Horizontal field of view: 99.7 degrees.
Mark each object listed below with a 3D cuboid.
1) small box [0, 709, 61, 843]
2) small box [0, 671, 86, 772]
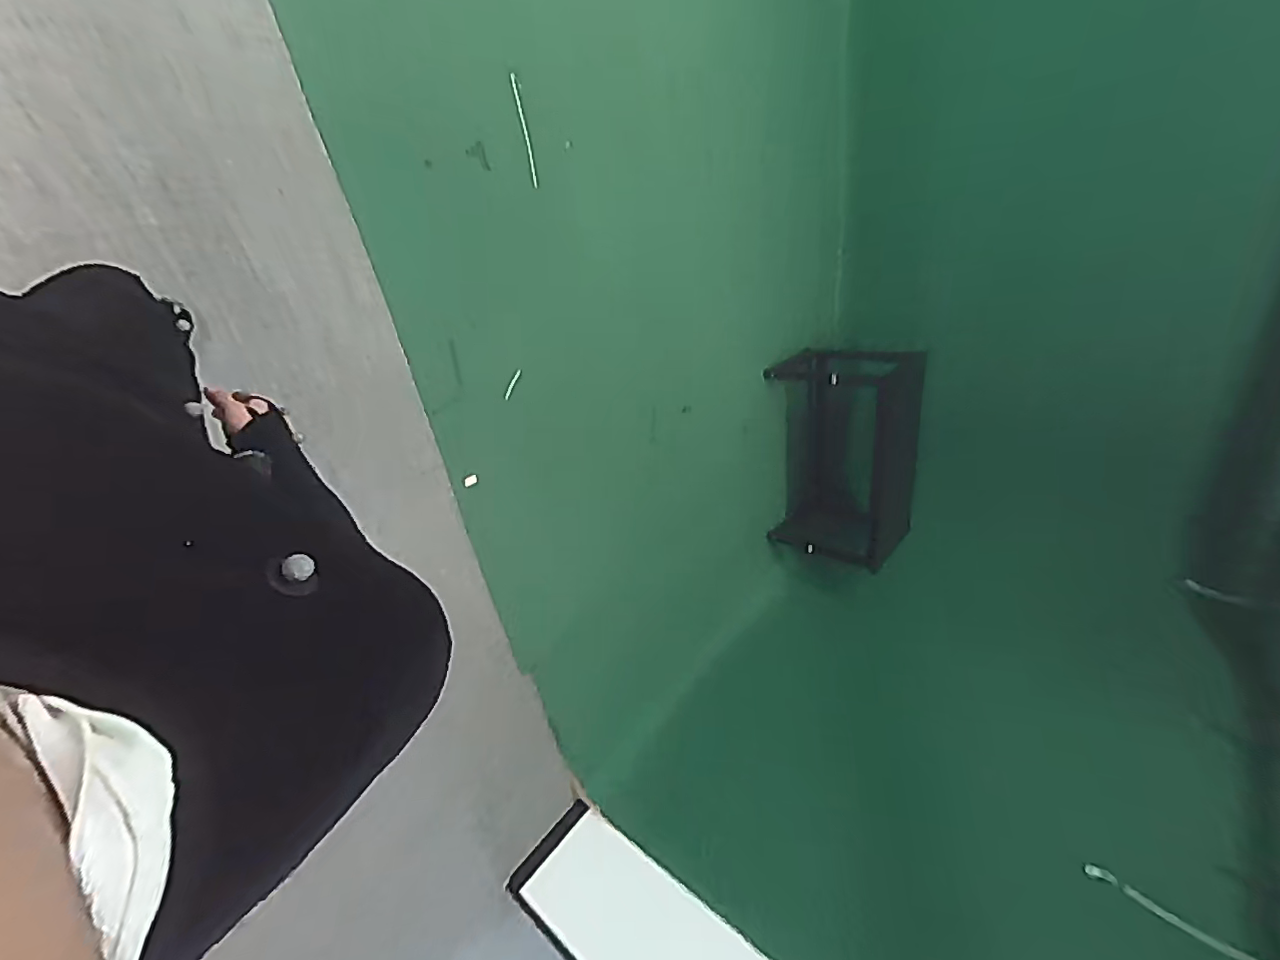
[{"bbox_3d":[-1.190,0.541,0.966,0.168,0.176,0.179,-23,120,-43],"label":"small box"},{"bbox_3d":[-1.289,0.519,1.102,0.168,0.176,0.179,-29,123,-41],"label":"small box"}]
